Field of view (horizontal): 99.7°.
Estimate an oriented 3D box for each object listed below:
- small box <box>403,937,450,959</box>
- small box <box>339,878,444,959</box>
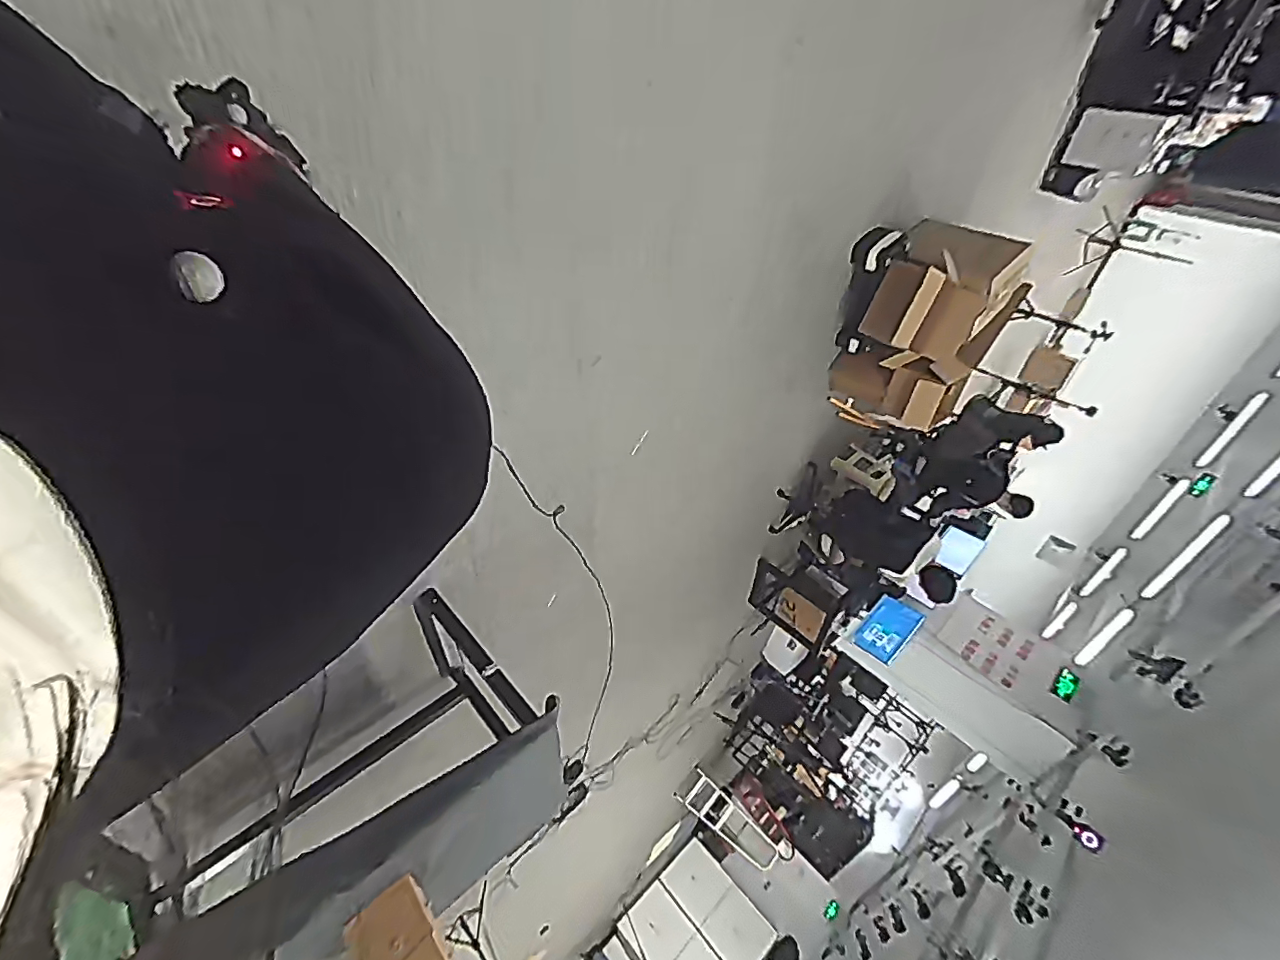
[{"bbox_3d":[-0.534,1.265,1.302,0.179,0.176,0.168,-33,141,-29],"label":"small box"},{"bbox_3d":[-0.641,1.186,1.398,0.179,0.176,0.168,-30,139,-32],"label":"small box"}]
